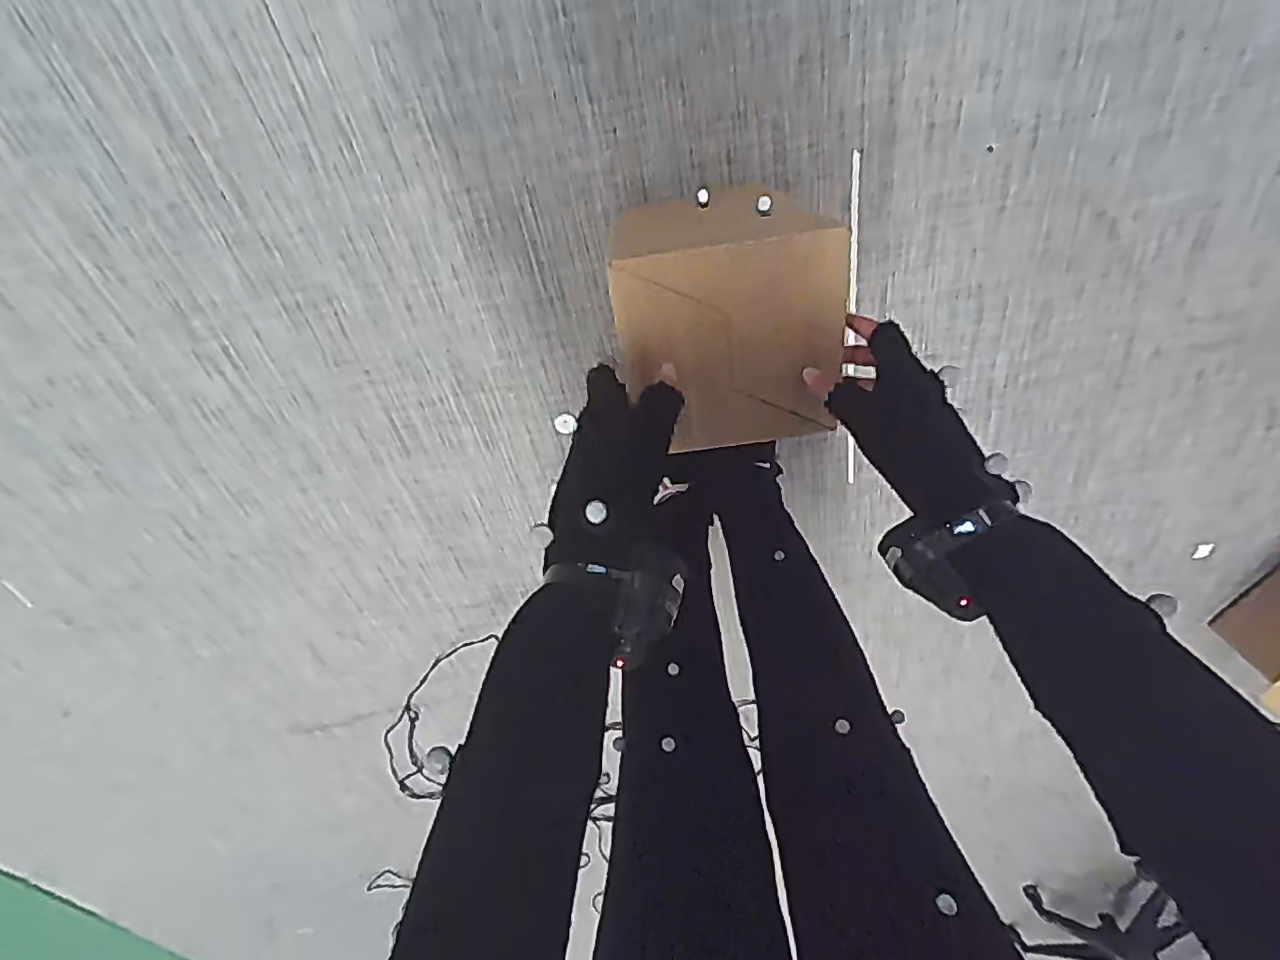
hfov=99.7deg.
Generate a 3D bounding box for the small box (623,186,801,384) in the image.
[{"bbox_3d":[0.079,-0.233,0.633,0.179,0.176,0.168,-9,123,6],"label":"small box"}]
